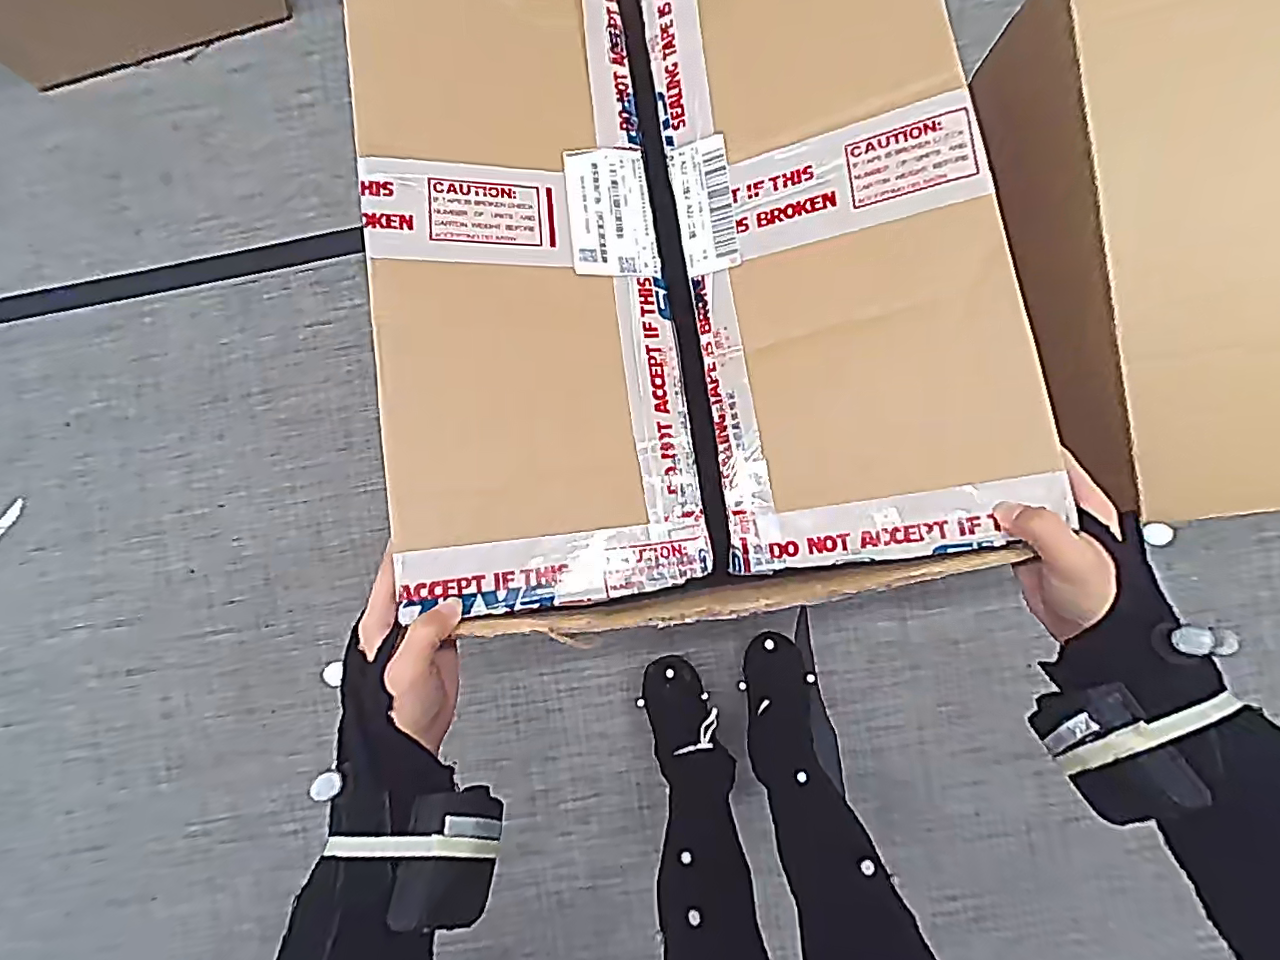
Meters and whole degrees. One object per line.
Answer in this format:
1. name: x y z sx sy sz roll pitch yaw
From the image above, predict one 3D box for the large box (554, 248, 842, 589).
1. large box: 0.077 -0.079 0.846 0.320 0.320 0.408 -10 90 3
